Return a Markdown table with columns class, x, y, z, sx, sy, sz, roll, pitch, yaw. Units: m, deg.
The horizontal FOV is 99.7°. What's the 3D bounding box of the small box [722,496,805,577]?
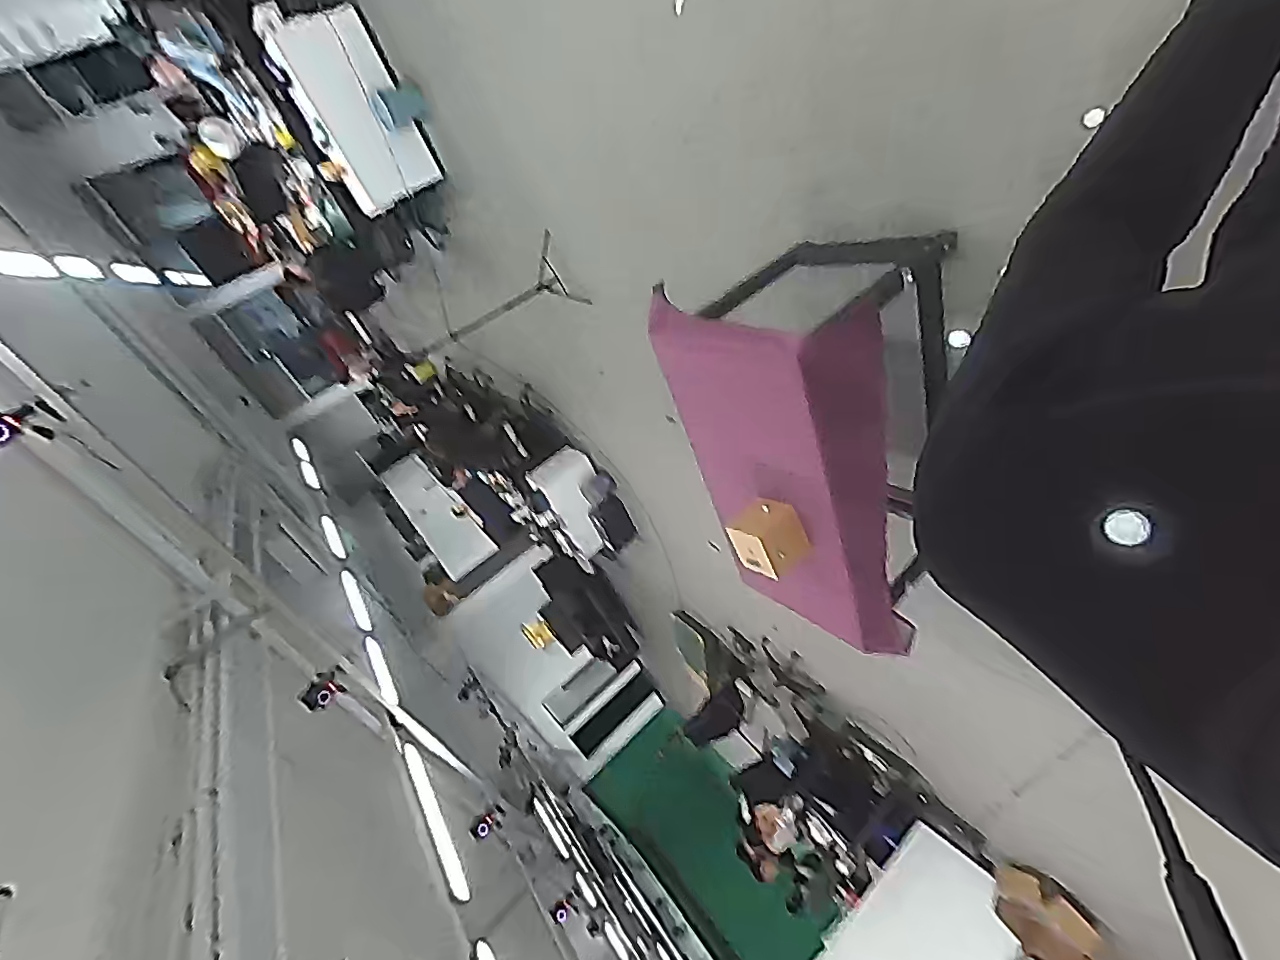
| class | x | y | z | sx | sy | sz | roll | pitch | yaw |
| --- | --- | --- | --- | --- | --- | --- | --- | --- | --- |
| small box | 0.407 | 0.179 | 1.760 | 0.168 | 0.176 | 0.179 | 16 | 139 | 58 |
